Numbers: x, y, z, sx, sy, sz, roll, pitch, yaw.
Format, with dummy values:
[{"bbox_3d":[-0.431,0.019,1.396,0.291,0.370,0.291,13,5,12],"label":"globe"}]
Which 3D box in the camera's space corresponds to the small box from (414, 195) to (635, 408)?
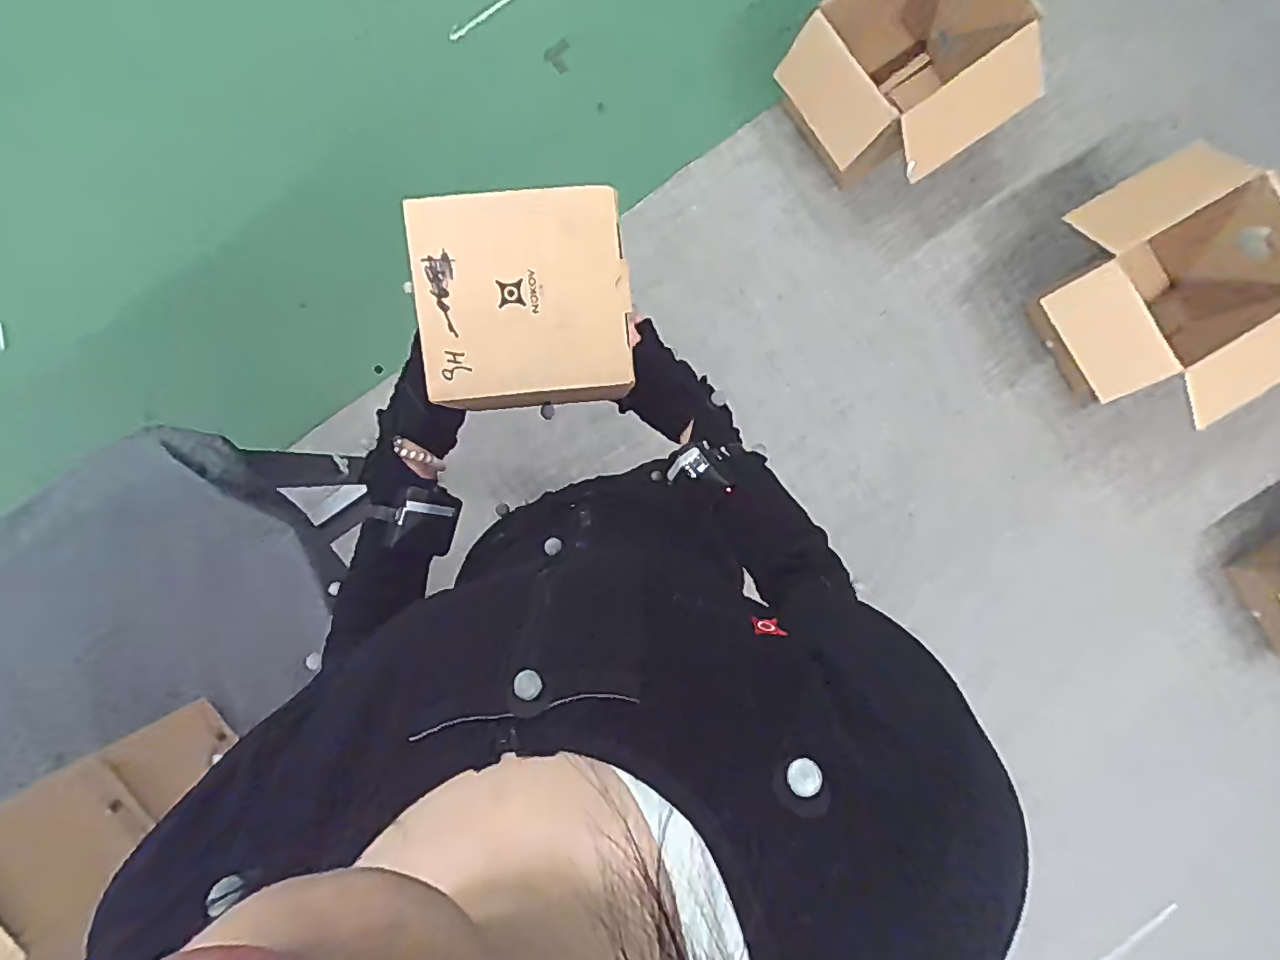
[{"bbox_3d":[-0.104,-0.162,0.537,0.179,0.176,0.168,-5,94,-5],"label":"small box"}]
